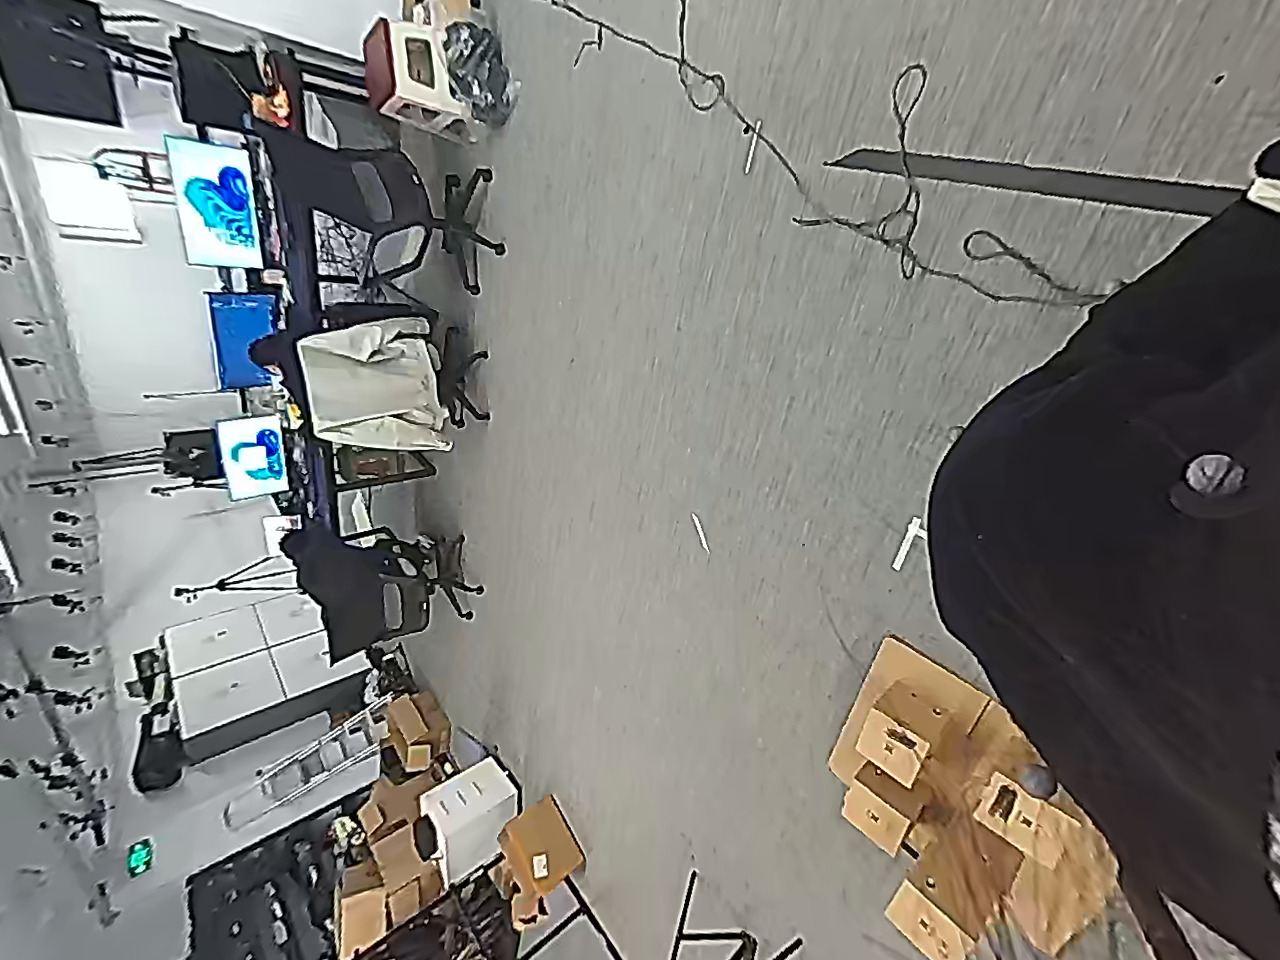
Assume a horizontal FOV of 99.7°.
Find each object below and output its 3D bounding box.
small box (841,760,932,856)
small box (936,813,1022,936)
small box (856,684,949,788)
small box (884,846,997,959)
[{"bbox_3d":[0.745,0.970,1.635,0.179,0.176,0.168,27,121,40],"label":"small box"},{"bbox_3d":[0.905,1.065,1.476,0.179,0.176,0.168,27,120,40],"label":"small box"},{"bbox_3d":[0.755,0.723,1.548,0.168,0.176,0.179,29,122,40],"label":"small box"},{"bbox_3d":[0.768,1.086,1.383,0.179,0.176,0.168,32,124,39],"label":"small box"}]
